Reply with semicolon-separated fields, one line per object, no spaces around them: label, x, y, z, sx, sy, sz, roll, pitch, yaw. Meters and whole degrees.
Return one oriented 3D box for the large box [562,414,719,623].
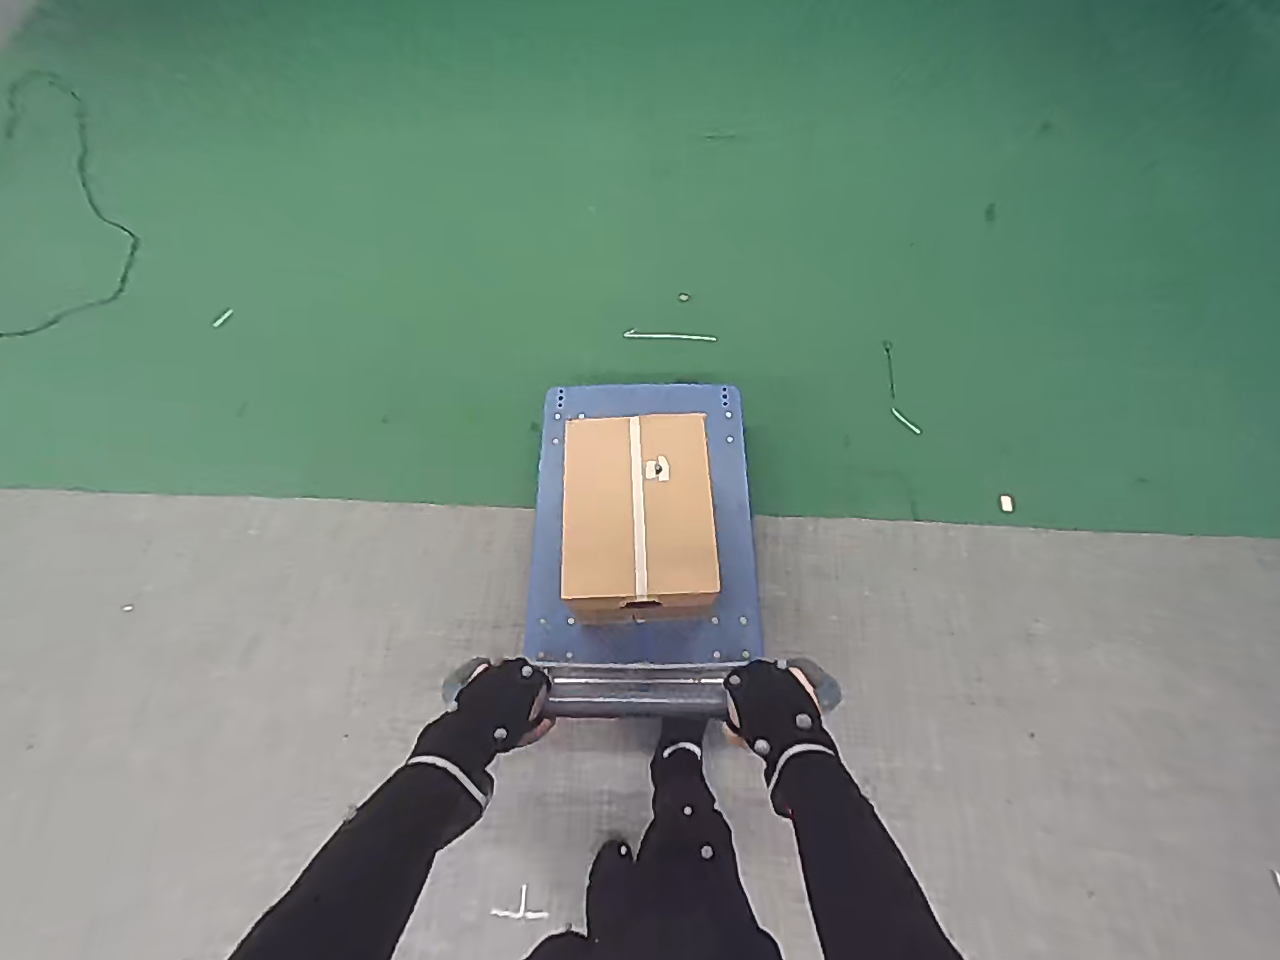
large box;-0.002;0.102;1.274;0.320;0.320;0.408;-3;66;0
